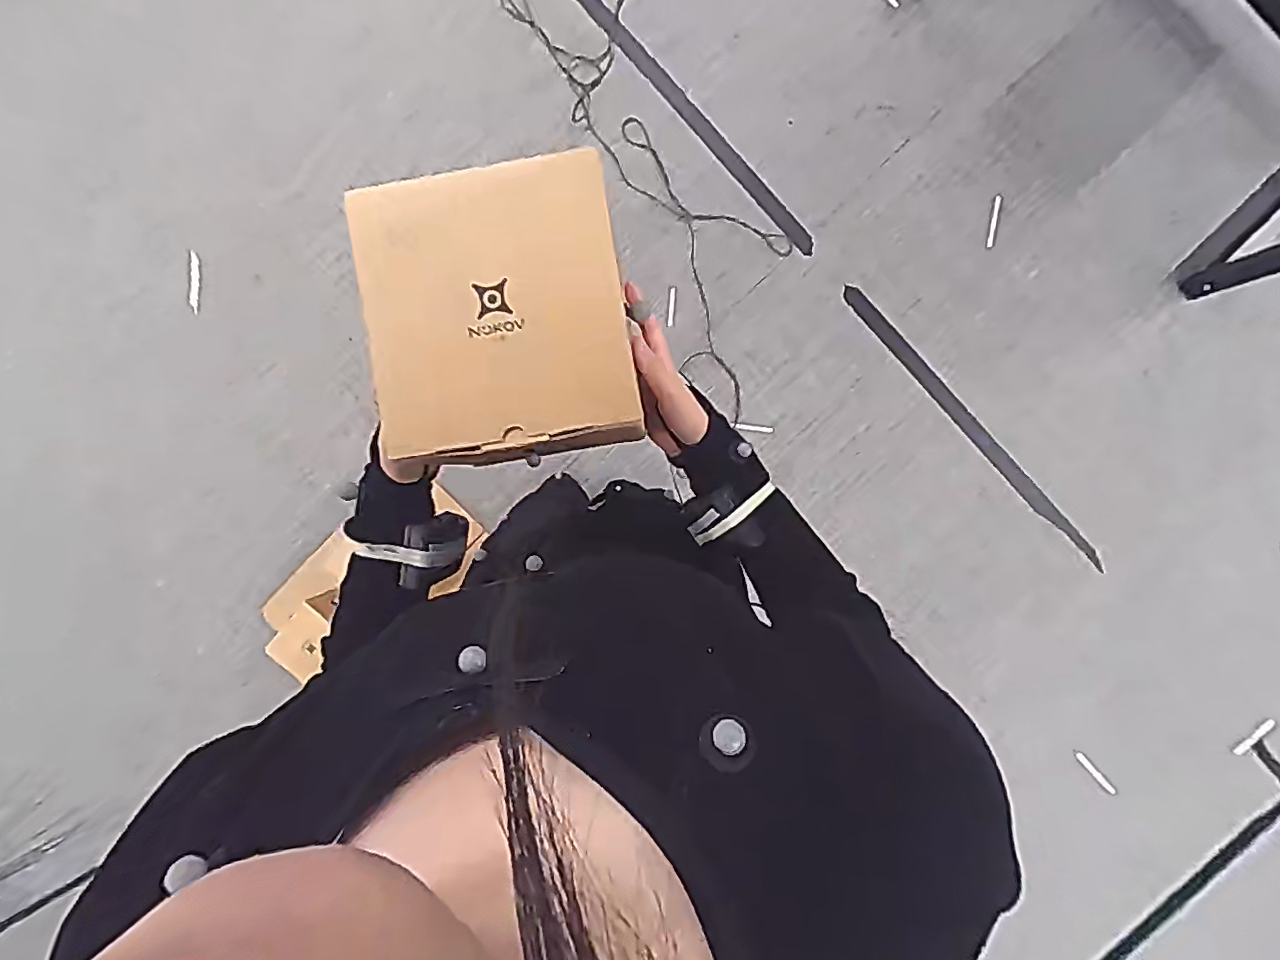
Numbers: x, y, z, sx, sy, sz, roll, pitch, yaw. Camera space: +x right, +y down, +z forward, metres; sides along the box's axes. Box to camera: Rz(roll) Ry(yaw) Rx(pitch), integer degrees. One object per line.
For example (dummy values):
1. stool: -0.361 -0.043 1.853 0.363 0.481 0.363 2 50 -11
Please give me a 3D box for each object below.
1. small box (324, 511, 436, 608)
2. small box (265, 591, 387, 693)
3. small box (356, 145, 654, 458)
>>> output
1. small box: -0.660 0.196 1.403 0.168 0.176 0.179 41 91 -1
2. small box: -0.810 0.410 1.412 0.179 0.176 0.168 40 92 -2
3. small box: -0.083 -0.113 0.414 0.168 0.176 0.179 -8 93 1
